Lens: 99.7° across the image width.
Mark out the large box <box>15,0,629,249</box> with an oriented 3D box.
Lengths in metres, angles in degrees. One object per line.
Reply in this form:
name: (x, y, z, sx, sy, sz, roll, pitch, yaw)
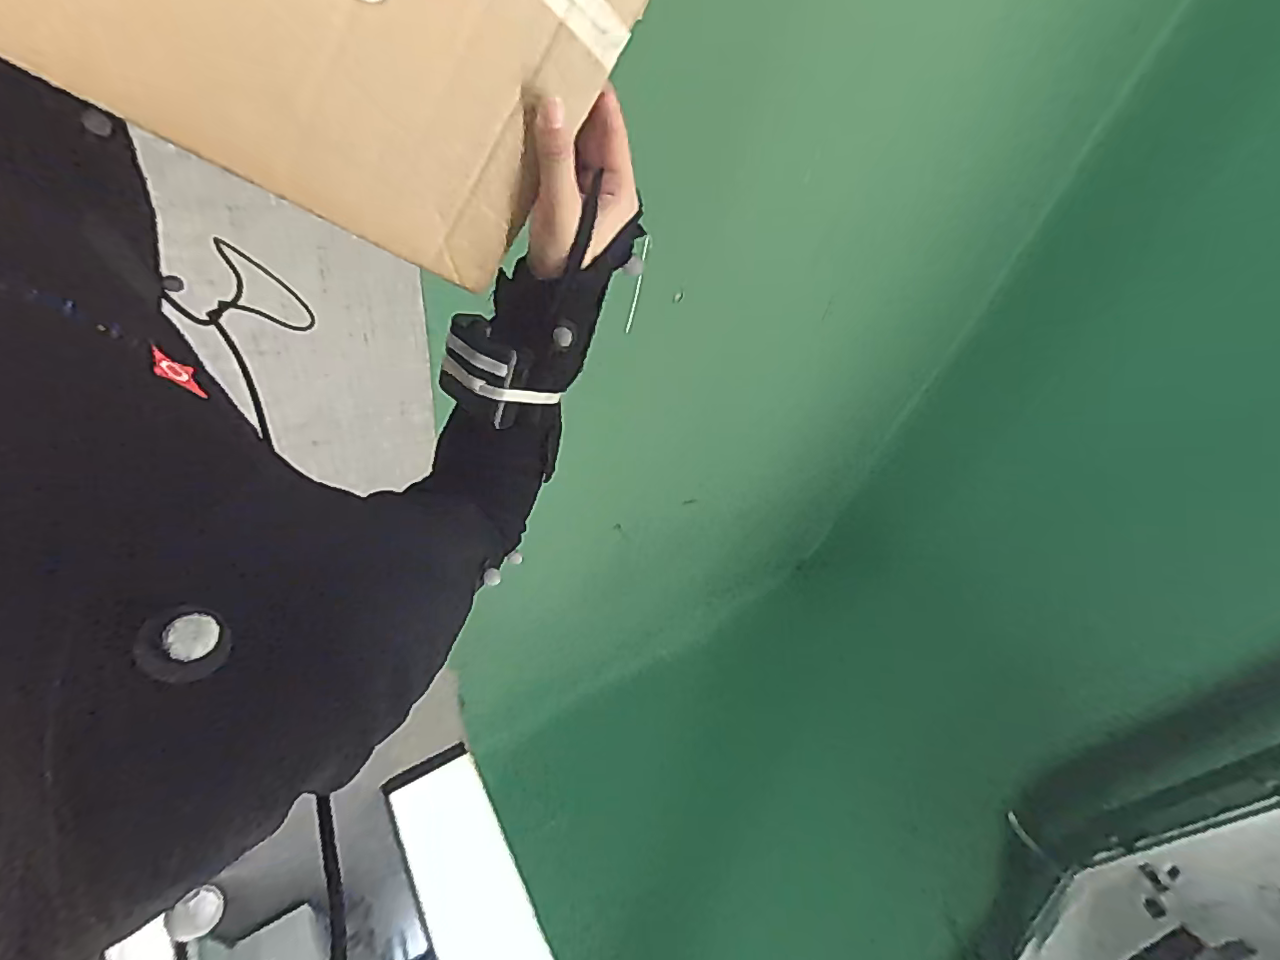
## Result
large box: (-0.214, -0.380, 0.229, 0.408, 0.320, 0.320, 14, 120, -48)
